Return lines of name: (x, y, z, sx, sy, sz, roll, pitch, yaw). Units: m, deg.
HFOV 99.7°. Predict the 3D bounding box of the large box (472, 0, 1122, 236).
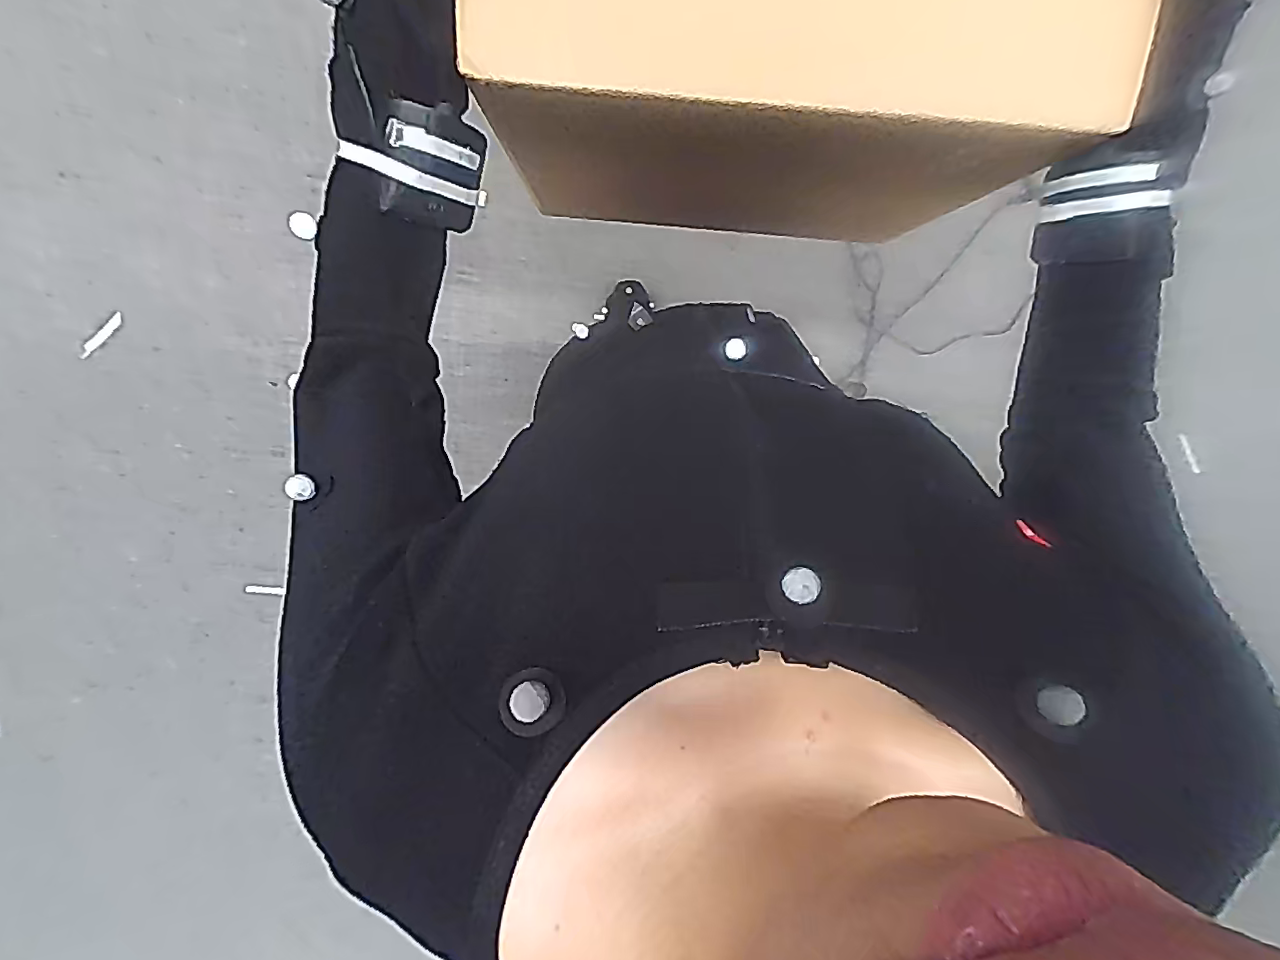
large box: (0.095, -0.413, 0.454, 0.408, 0.320, 0.320, 3, 102, -3)
